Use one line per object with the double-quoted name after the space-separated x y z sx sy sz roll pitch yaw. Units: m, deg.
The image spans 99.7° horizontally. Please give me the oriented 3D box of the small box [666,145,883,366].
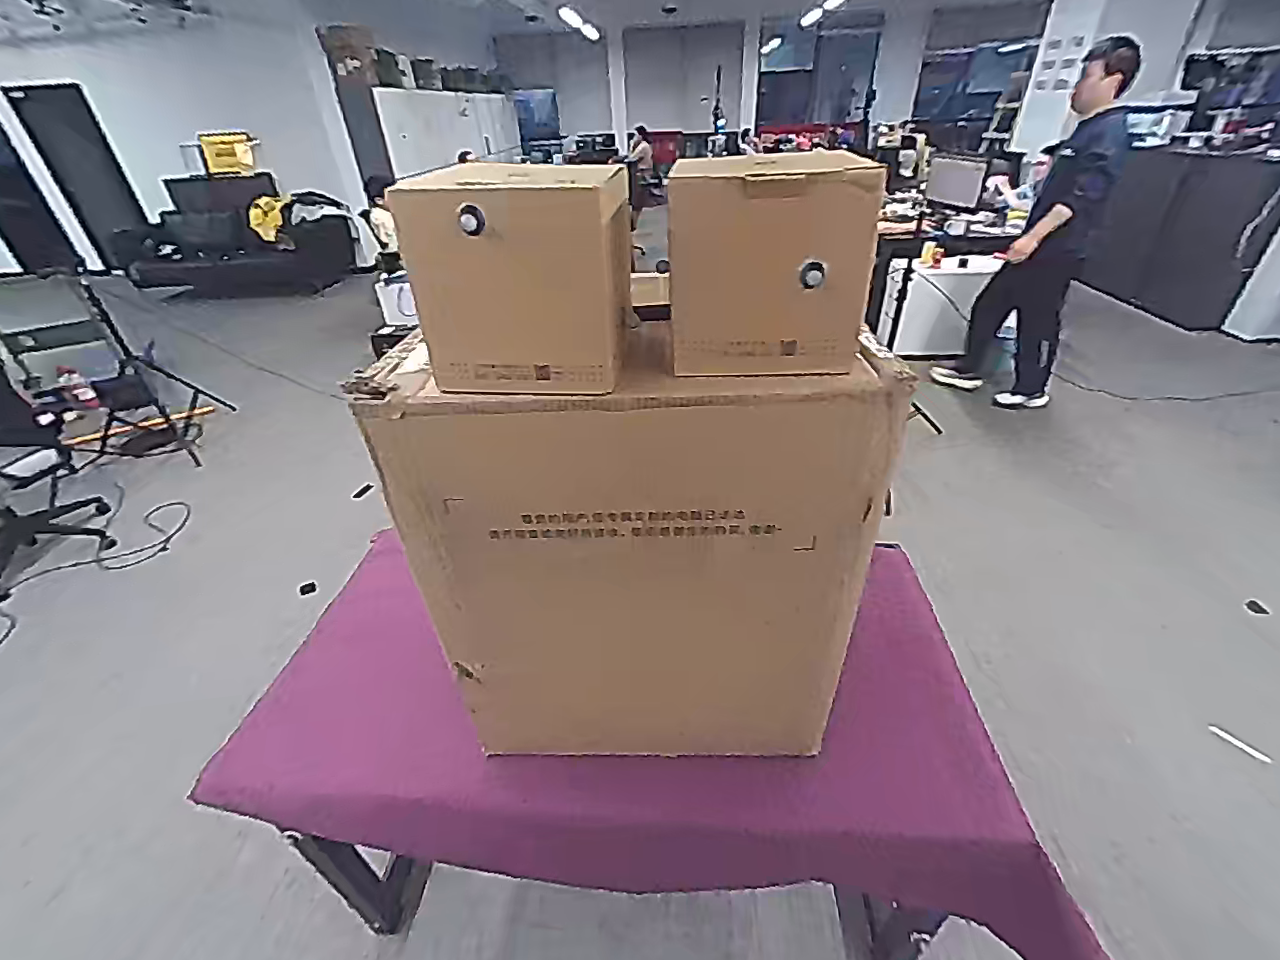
0.115 -0.216 0.522 0.168 0.176 0.179 1 33 6 "small box"
